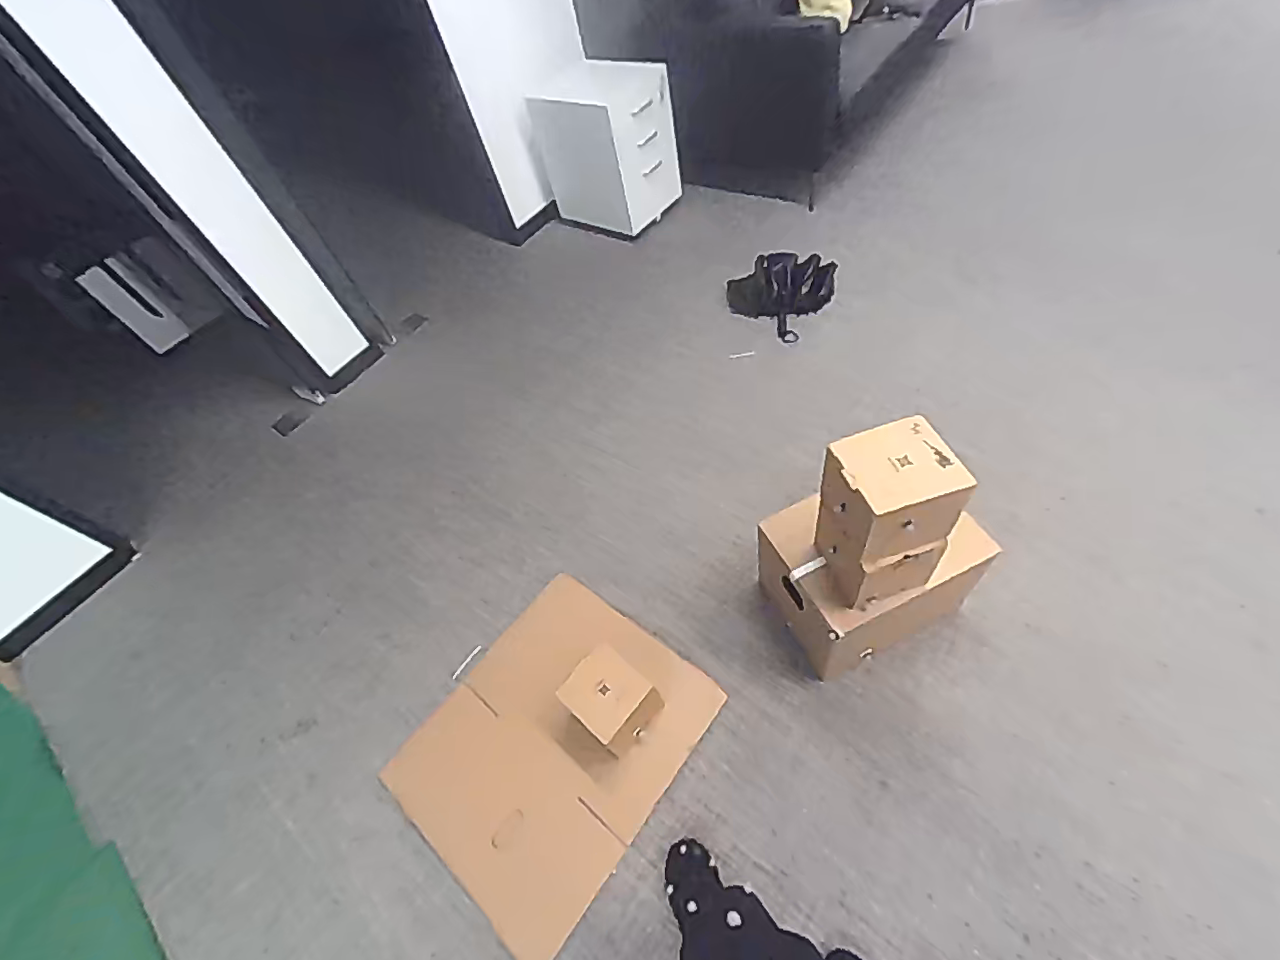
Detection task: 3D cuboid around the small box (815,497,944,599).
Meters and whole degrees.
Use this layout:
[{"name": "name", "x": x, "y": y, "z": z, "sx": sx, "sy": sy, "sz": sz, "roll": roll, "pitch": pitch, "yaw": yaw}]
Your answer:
[{"name": "small box", "x": 0.471, "y": 0.121, "z": 1.093, "sx": 0.168, "sy": 0.176, "sz": 0.179, "roll": -19, "pitch": 52, "yaw": -1}]

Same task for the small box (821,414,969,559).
[{"name": "small box", "x": 0.443, "y": 0.017, "z": 0.973, "sx": 0.179, "sy": 0.176, "sz": 0.168, "roll": -20, "pitch": 51, "yaw": -3}]

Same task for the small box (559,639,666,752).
[{"name": "small box", "x": -0.059, "y": 0.522, "z": 1.300, "sx": 0.179, "sy": 0.176, "sz": 0.168, "roll": 31, "pitch": 67, "yaw": 30}]
